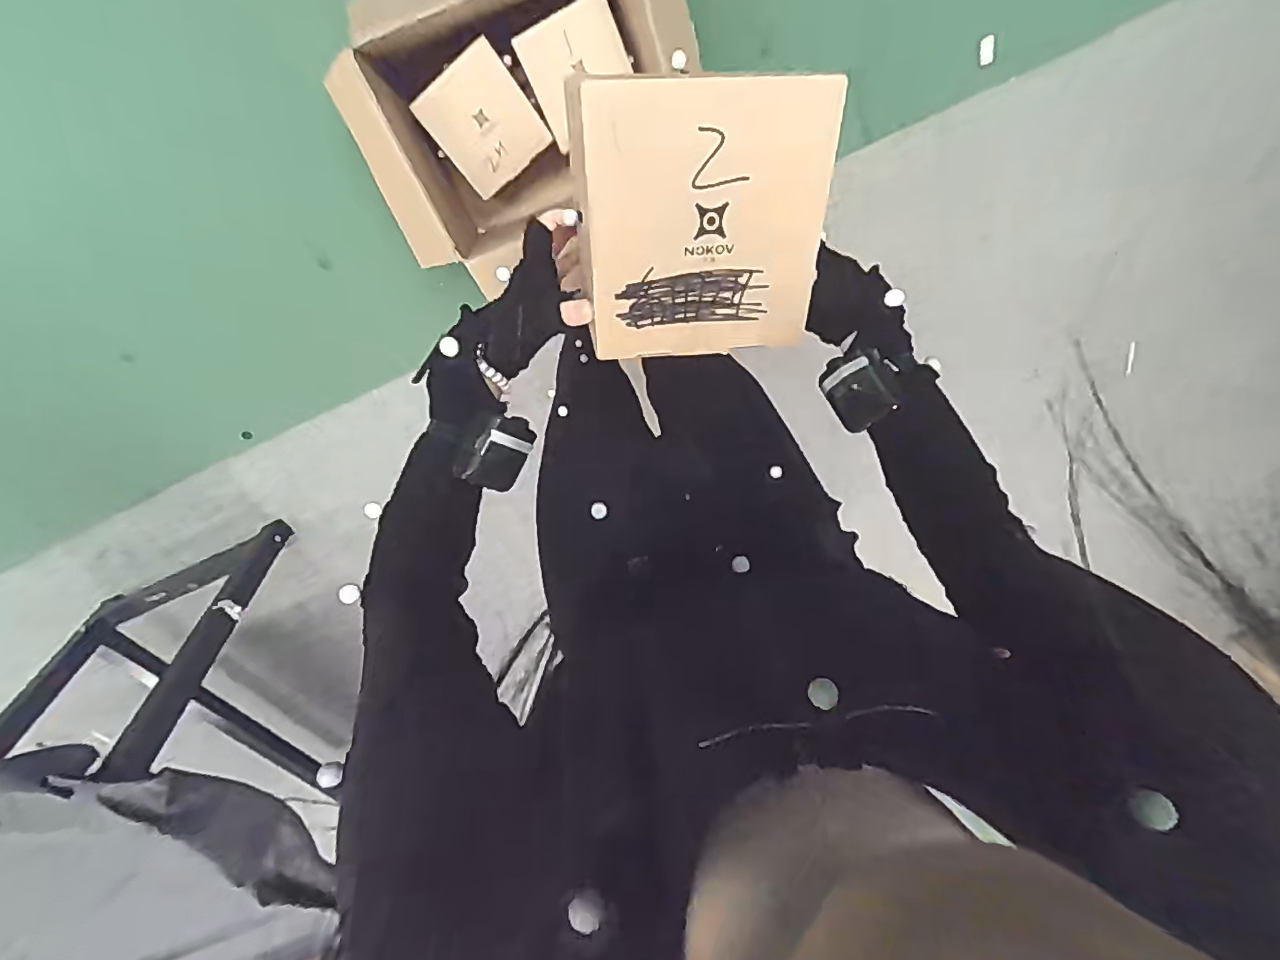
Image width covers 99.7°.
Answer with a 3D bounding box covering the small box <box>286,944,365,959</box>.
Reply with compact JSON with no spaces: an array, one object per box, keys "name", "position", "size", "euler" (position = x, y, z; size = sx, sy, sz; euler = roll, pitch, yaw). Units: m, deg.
[{"name":"small box","position":[-0.769,1.223,1.250],"size":[0.179,0.176,0.168],"euler":[-26,123,6]}]
